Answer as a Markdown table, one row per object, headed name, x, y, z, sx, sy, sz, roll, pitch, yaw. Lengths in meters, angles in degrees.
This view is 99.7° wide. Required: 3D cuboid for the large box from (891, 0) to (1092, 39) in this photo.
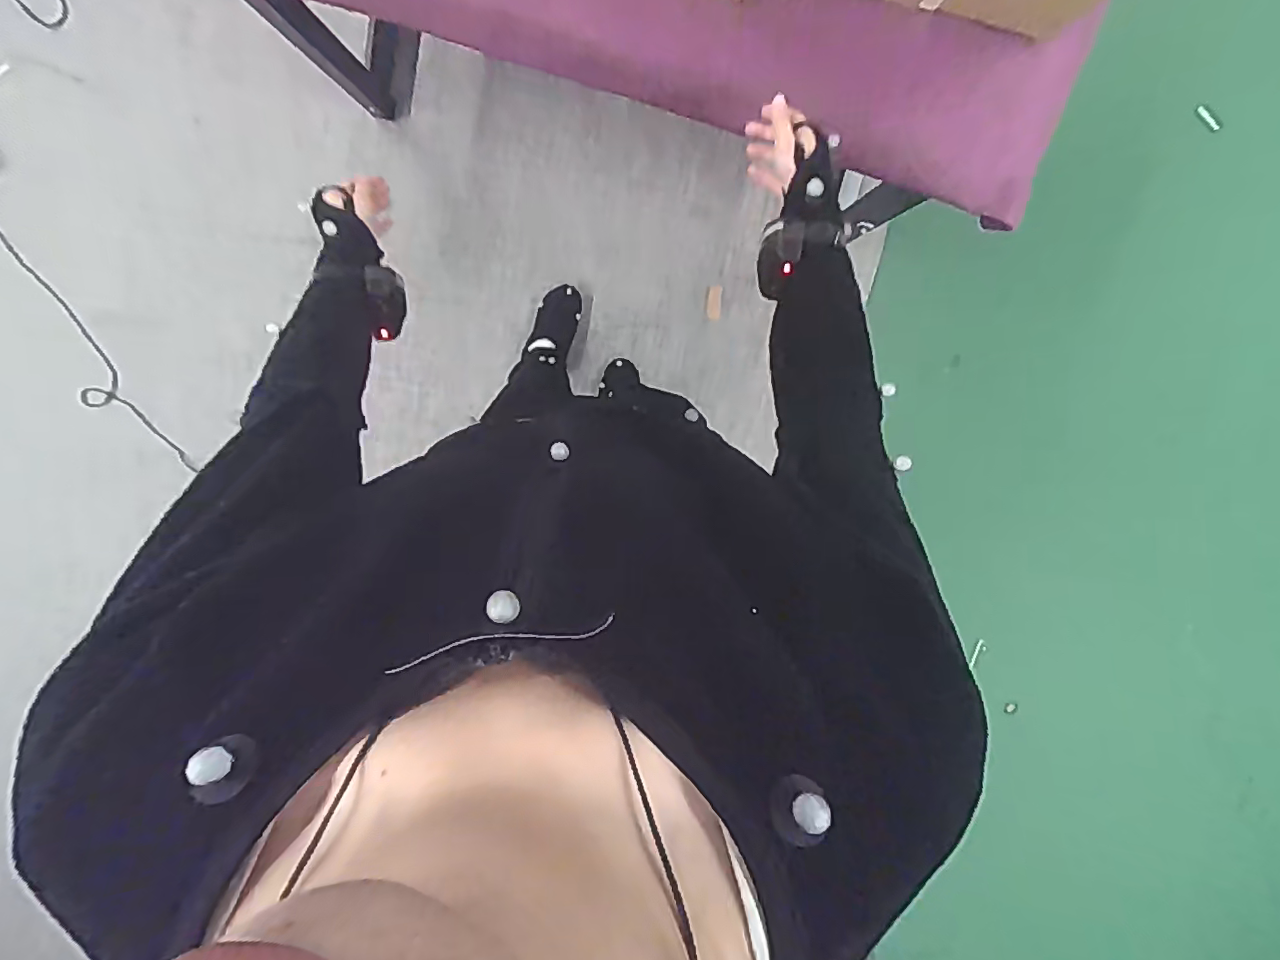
| name | x | y | z | sx | sy | sz | roll | pitch | yaw |
| --- | --- | --- | --- | --- | --- | --- | --- | --- | --- |
| large box | 0.388 | -0.719 | 0.460 | 0.320 | 0.320 | 0.408 | 14 | 103 | -1 |
